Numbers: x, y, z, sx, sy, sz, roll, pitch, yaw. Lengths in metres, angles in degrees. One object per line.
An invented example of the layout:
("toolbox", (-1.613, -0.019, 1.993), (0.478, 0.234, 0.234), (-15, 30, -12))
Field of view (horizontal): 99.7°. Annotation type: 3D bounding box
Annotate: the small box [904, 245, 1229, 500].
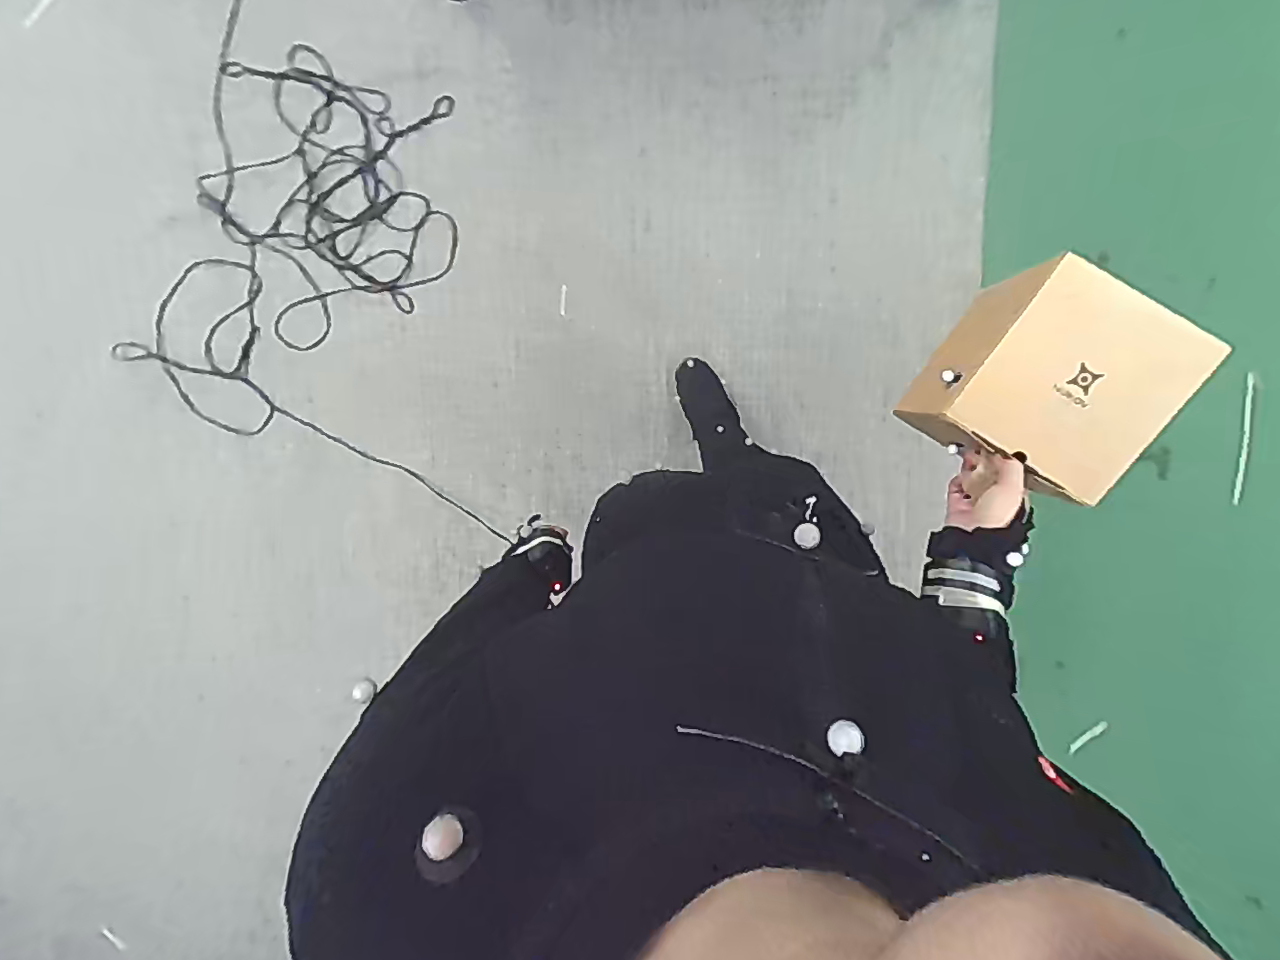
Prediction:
("small box", (0.415, -0.108, 0.570), (0.168, 0.176, 0.179), (32, 103, 2))
